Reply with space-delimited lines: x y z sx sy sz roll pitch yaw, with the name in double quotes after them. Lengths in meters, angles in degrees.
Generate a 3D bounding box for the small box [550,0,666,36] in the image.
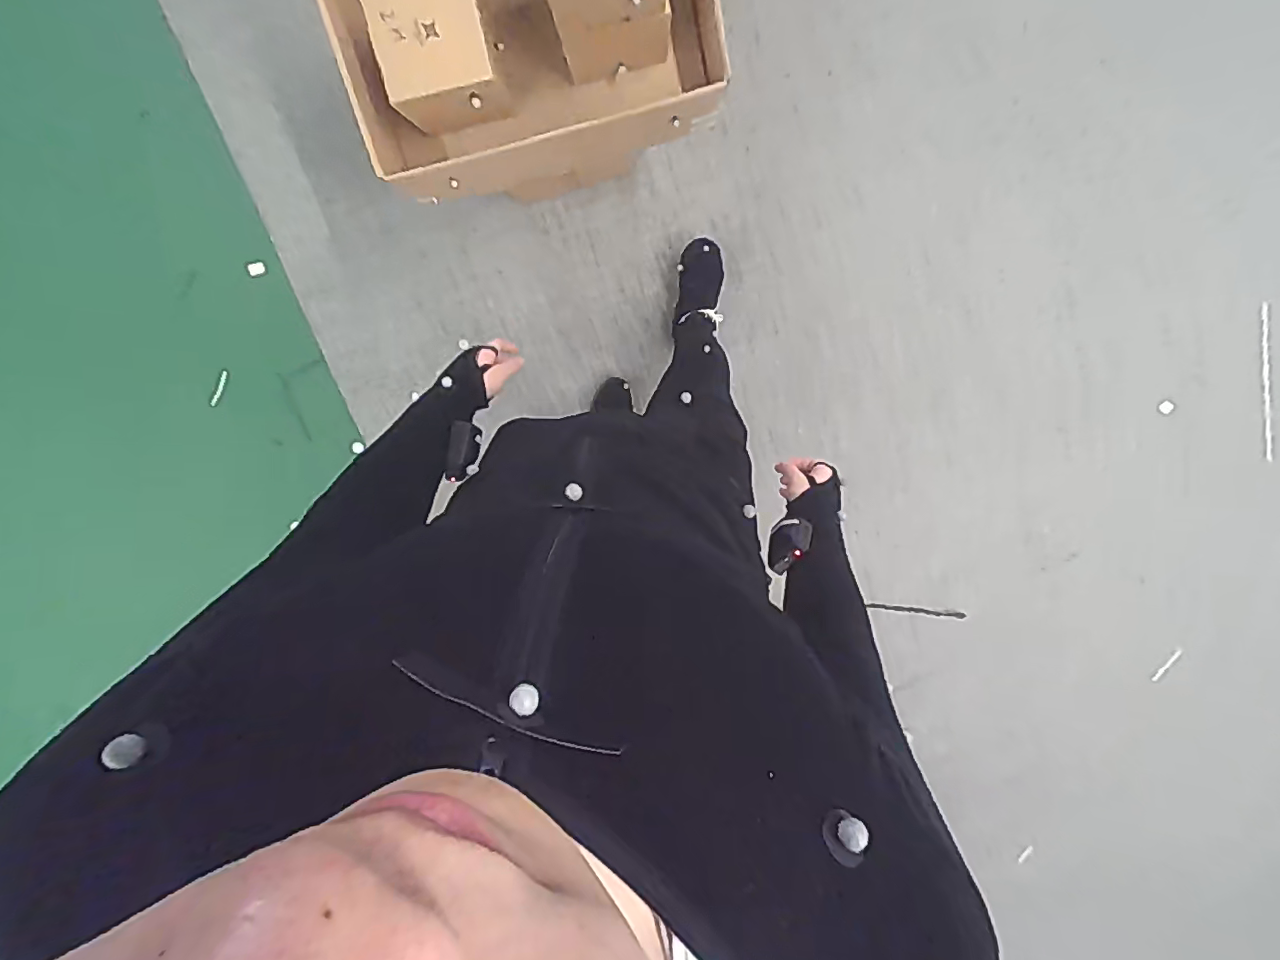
-0.057 -0.740 0.723 0.168 0.176 0.179 -12 106 4 "small box"
